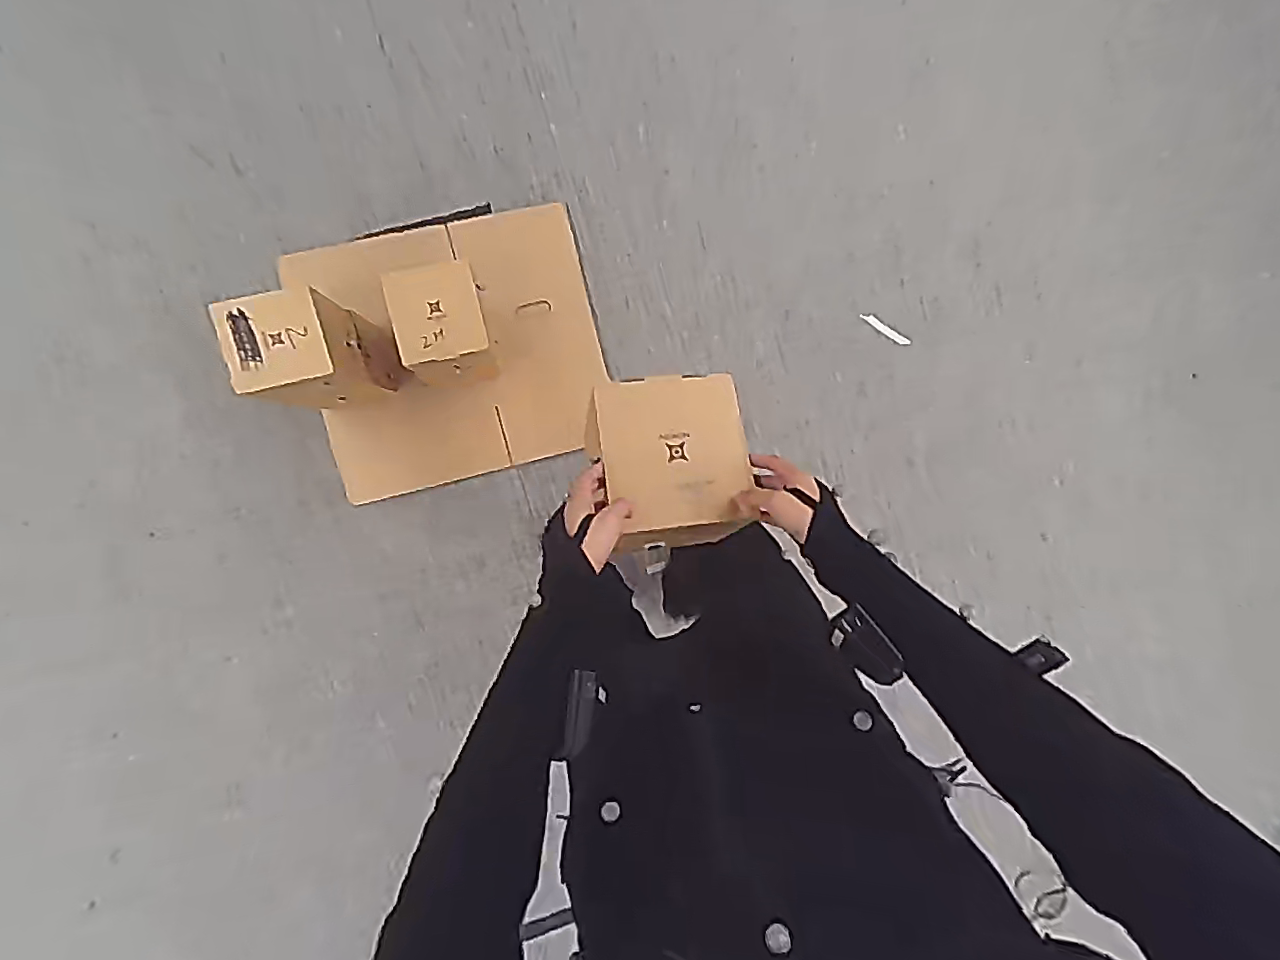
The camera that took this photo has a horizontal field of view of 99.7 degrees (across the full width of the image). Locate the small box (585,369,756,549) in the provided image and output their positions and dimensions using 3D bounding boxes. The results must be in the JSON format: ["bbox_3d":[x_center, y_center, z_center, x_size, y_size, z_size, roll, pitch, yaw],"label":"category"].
[{"bbox_3d":[0.024,-0.020,0.675,0.168,0.176,0.179,-6,75,-10],"label":"small box"}]

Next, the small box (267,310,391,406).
[{"bbox_3d":[-0.683,-0.268,1.217,0.179,0.176,0.168,-15,96,-6],"label":"small box"}]

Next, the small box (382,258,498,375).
[{"bbox_3d":[-0.394,-0.321,1.092,0.168,0.176,0.179,-13,96,-7],"label":"small box"}]

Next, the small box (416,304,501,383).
[{"bbox_3d":[-0.427,-0.328,1.254,0.179,0.176,0.168,-14,96,-7],"label":"small box"}]
